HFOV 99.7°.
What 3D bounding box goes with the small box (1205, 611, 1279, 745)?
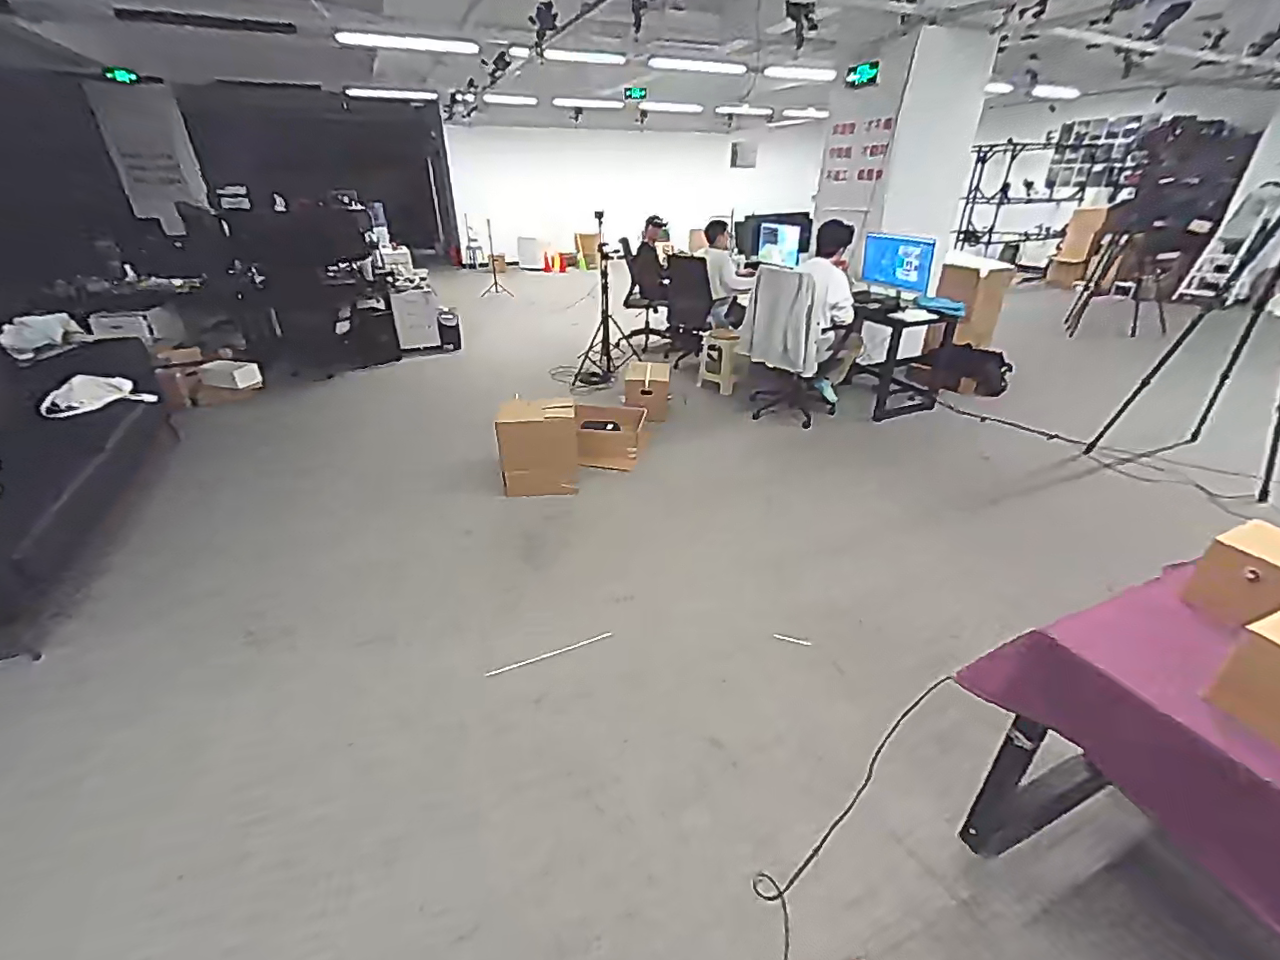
[{"bbox_3d":[1.108,0.339,0.888,0.168,0.176,0.179,-11,31,-19],"label":"small box"}]
